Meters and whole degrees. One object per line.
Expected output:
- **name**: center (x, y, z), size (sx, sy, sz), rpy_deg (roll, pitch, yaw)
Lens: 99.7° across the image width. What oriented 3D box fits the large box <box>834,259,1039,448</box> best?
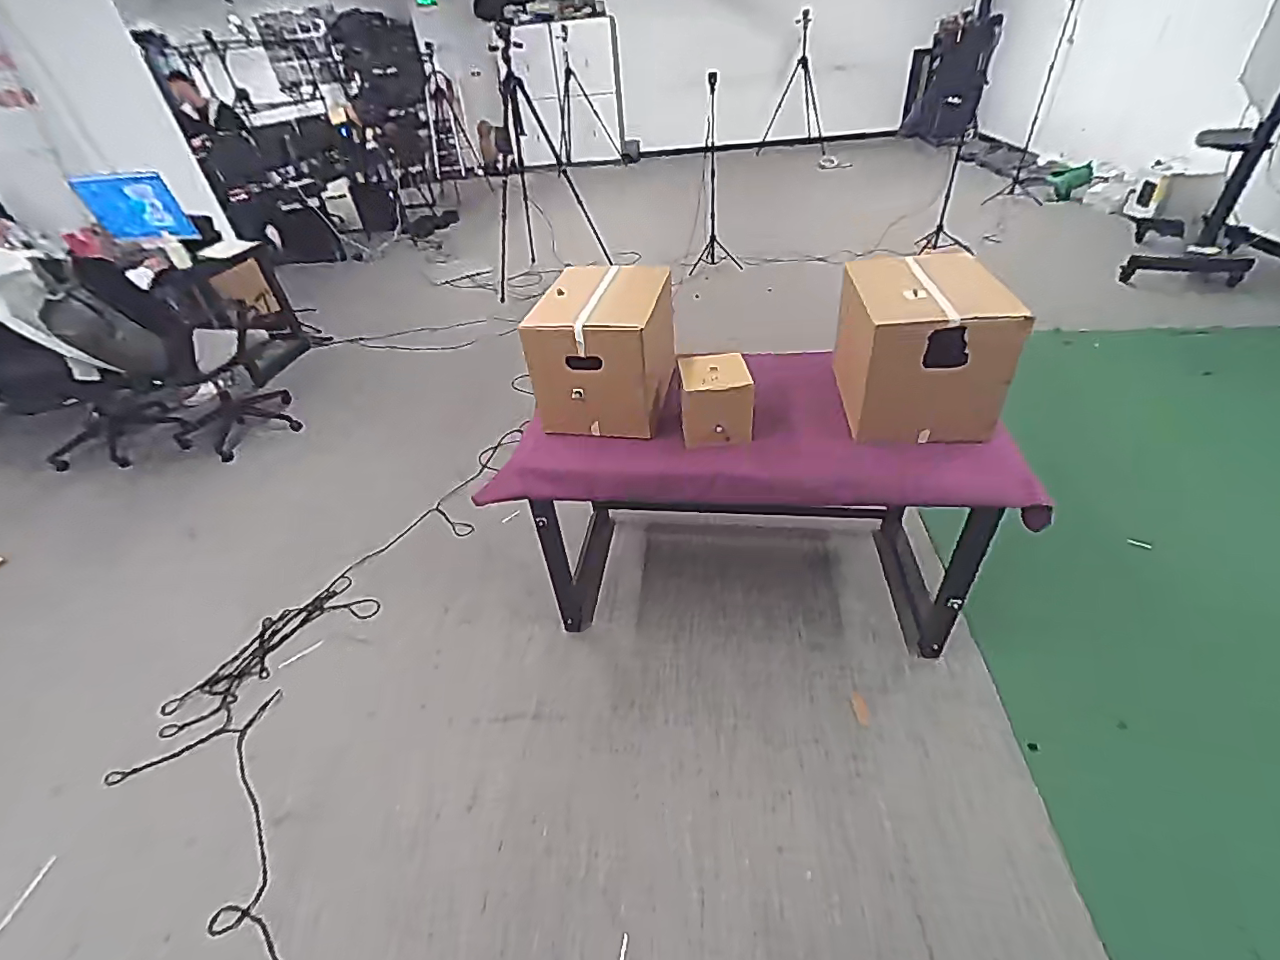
- **large box**: center (0.690, -0.322, 1.351), size (0.320, 0.320, 0.408), rpy_deg (-1, 40, 10)
